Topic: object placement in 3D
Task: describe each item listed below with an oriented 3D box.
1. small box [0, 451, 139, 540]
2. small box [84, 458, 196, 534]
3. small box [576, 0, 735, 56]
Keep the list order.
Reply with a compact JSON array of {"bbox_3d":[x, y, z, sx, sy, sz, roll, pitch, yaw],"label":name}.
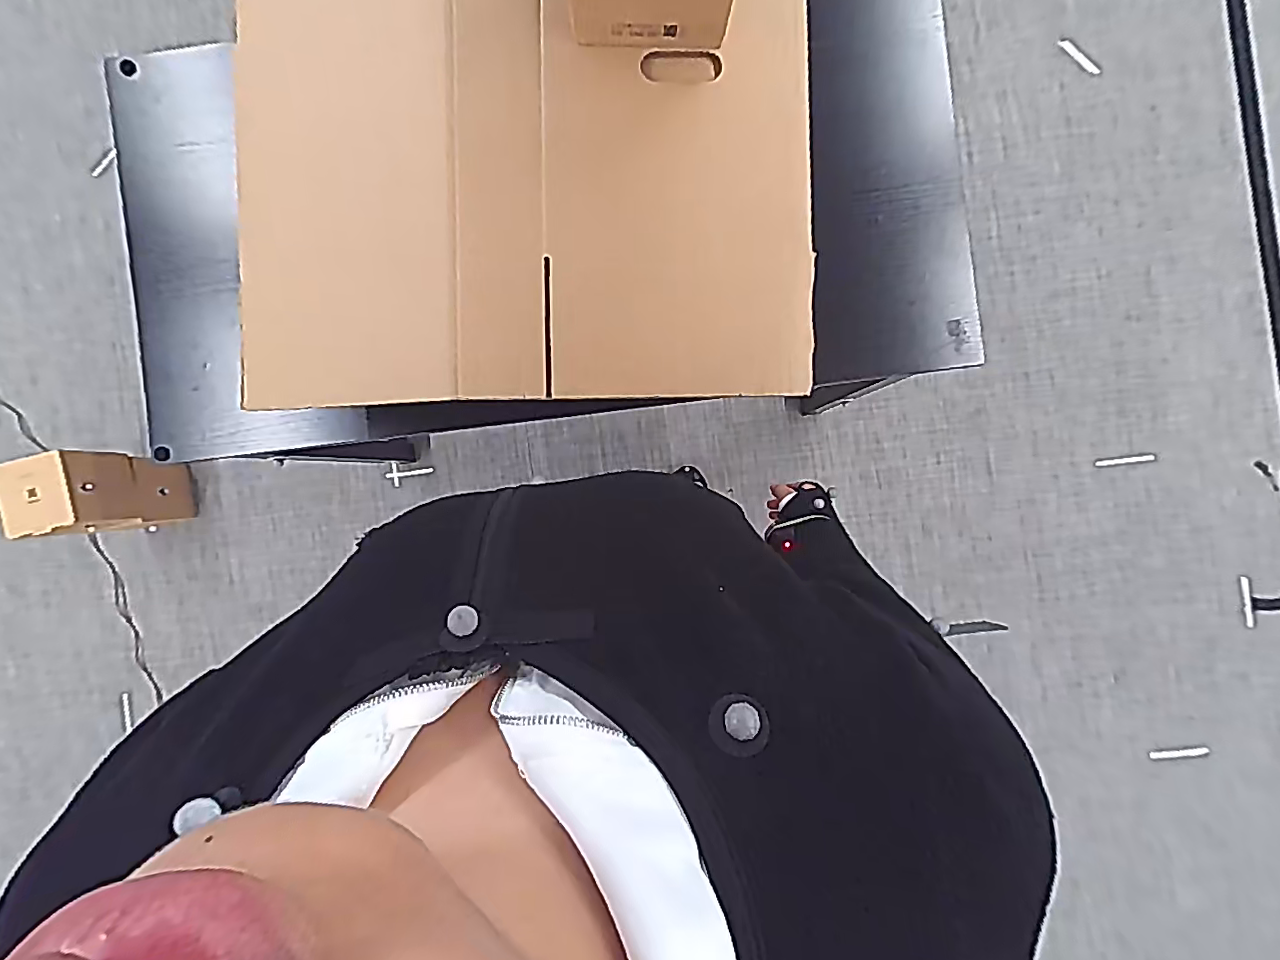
[{"bbox_3d":[-1.368,0.036,1.304,0.168,0.176,0.179,-14,88,1],"label":"small box"},{"bbox_3d":[-1.361,0.042,1.466,0.168,0.176,0.179,-11,90,2],"label":"small box"},{"bbox_3d":[0.016,-0.563,0.521,0.168,0.176,0.179,1,88,-1],"label":"small box"}]
